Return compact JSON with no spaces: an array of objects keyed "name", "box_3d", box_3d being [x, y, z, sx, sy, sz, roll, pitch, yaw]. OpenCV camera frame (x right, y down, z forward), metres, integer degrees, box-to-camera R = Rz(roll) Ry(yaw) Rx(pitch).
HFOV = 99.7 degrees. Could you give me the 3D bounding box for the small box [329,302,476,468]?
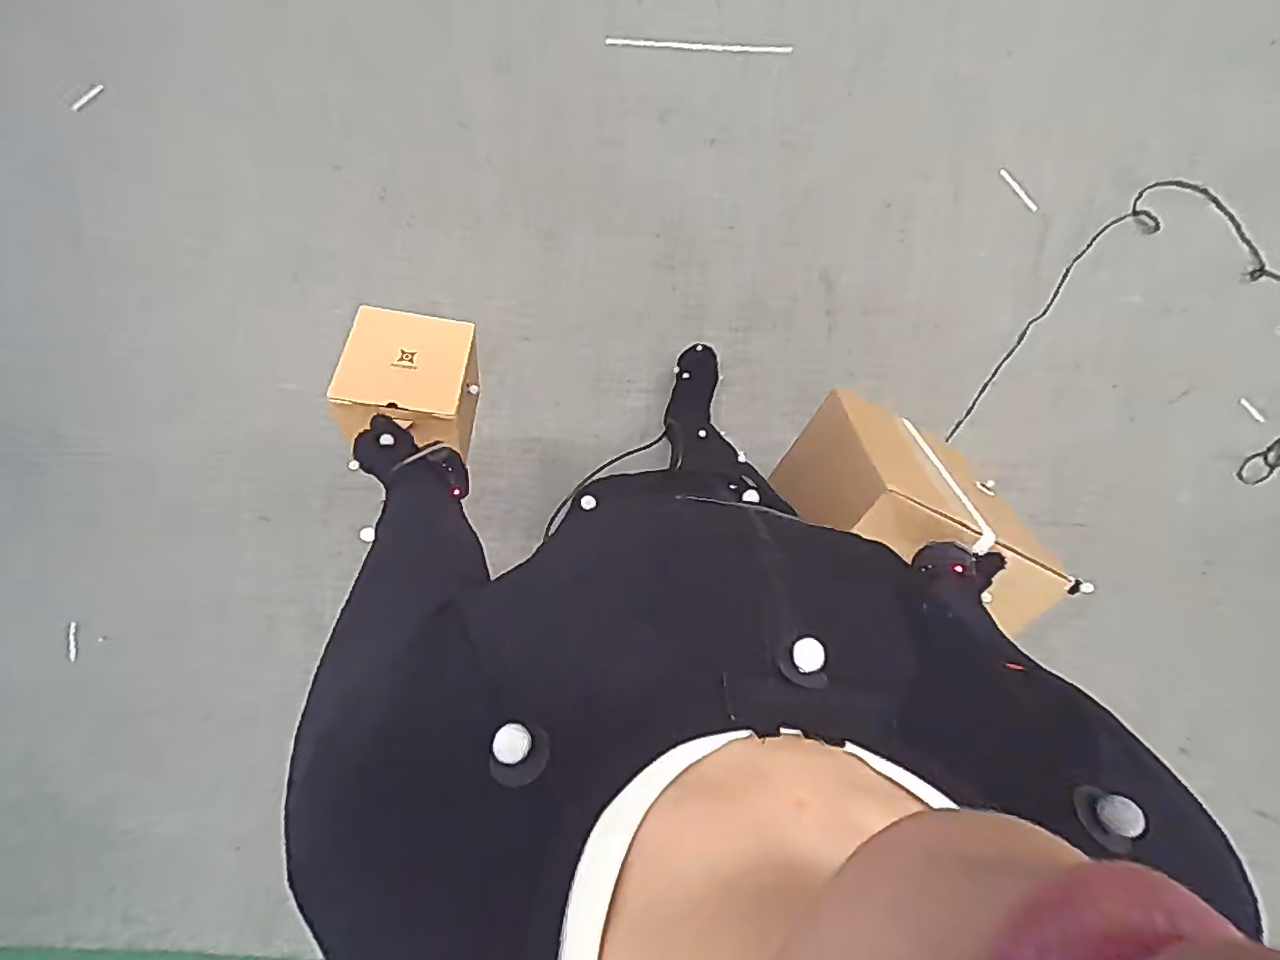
[{"name":"small box","box_3d":[-0.351,-0.141,0.839,0.168,0.176,0.179,7,62,-11]}]
